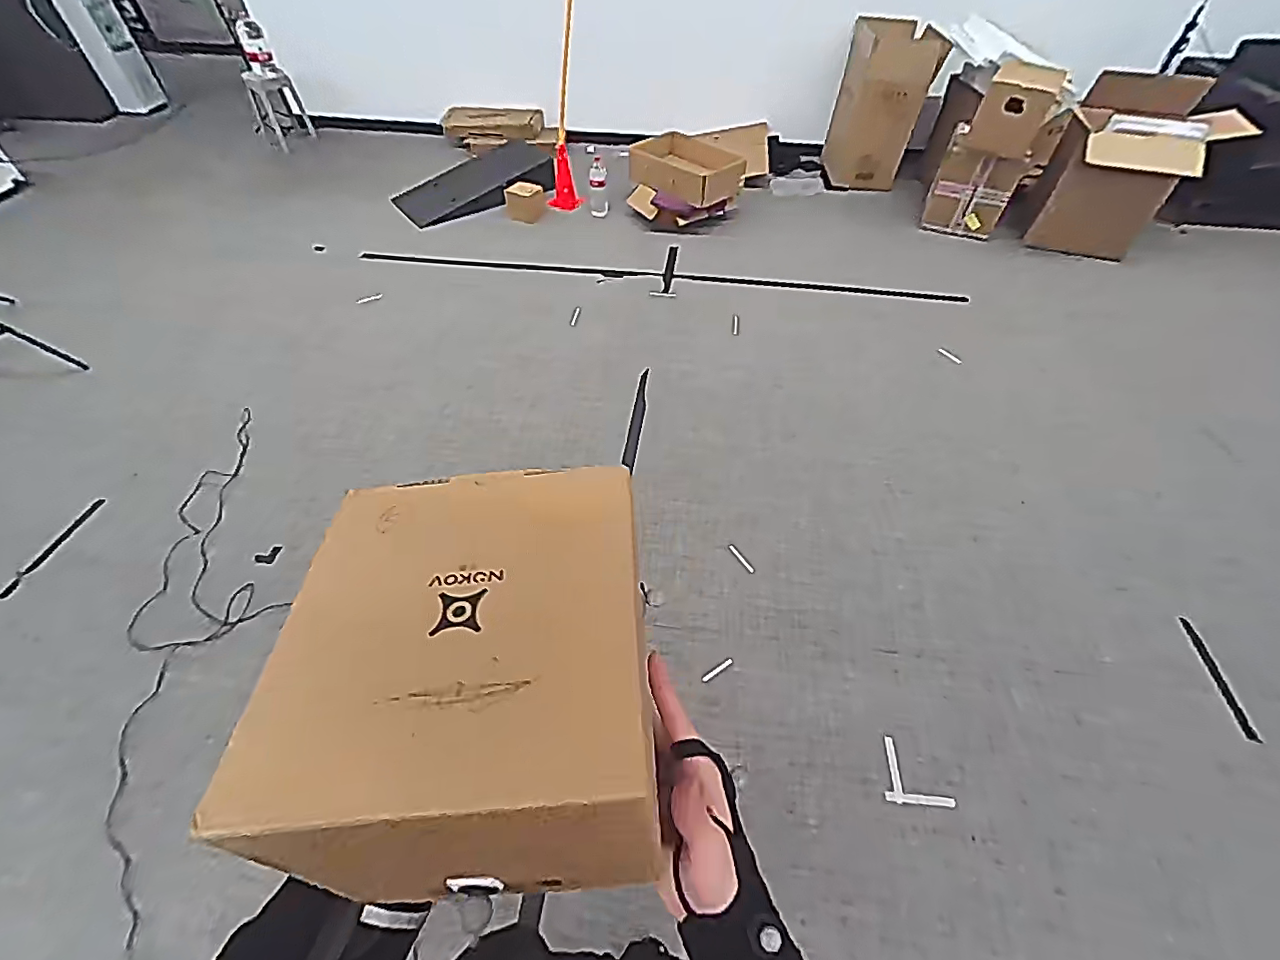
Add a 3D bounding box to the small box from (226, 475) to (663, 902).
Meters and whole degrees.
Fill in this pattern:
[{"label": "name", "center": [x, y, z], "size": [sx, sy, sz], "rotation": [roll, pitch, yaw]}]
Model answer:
[{"label": "small box", "center": [-0.077, 0.122, 0.320], "size": [0.168, 0.176, 0.179], "rotation": [-6, 45, 1]}]
